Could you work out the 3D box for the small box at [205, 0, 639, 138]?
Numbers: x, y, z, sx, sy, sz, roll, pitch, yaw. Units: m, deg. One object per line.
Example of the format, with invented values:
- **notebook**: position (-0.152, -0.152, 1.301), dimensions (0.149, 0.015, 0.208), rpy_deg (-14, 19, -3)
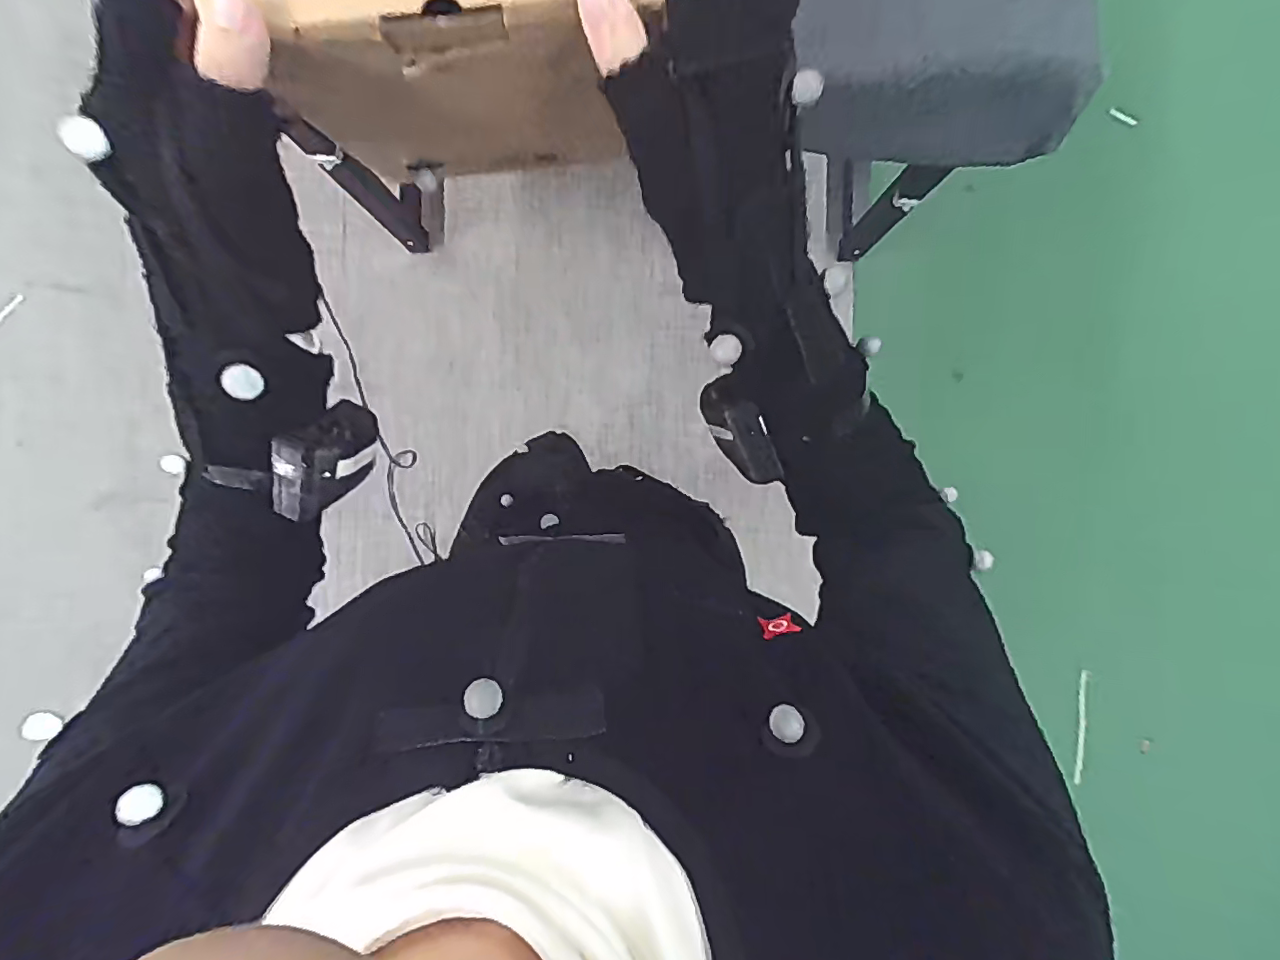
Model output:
- **small box**: position (-0.088, -0.279, 0.244), dimensions (0.168, 0.176, 0.179), rpy_deg (-7, 102, -2)
